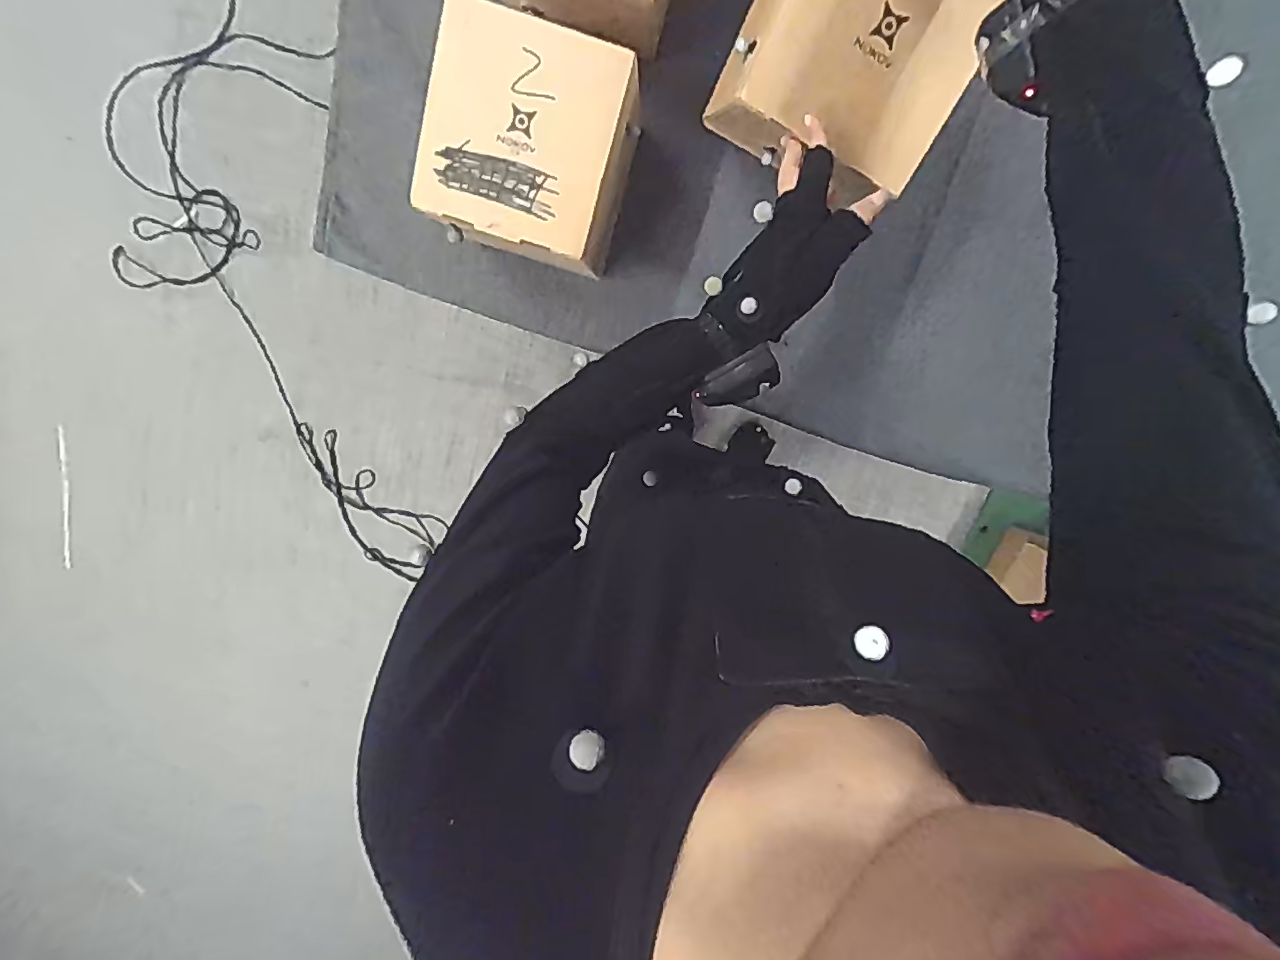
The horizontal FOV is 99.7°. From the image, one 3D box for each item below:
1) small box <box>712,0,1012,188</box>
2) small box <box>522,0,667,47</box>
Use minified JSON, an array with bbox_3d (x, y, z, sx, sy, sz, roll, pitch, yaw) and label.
[{"bbox_3d":[0.180,-0.389,0.481,0.168,0.176,0.179,20,117,-15],"label":"small box"},{"bbox_3d":[-0.043,-0.541,0.485,0.168,0.176,0.179,16,106,-3],"label":"small box"}]
